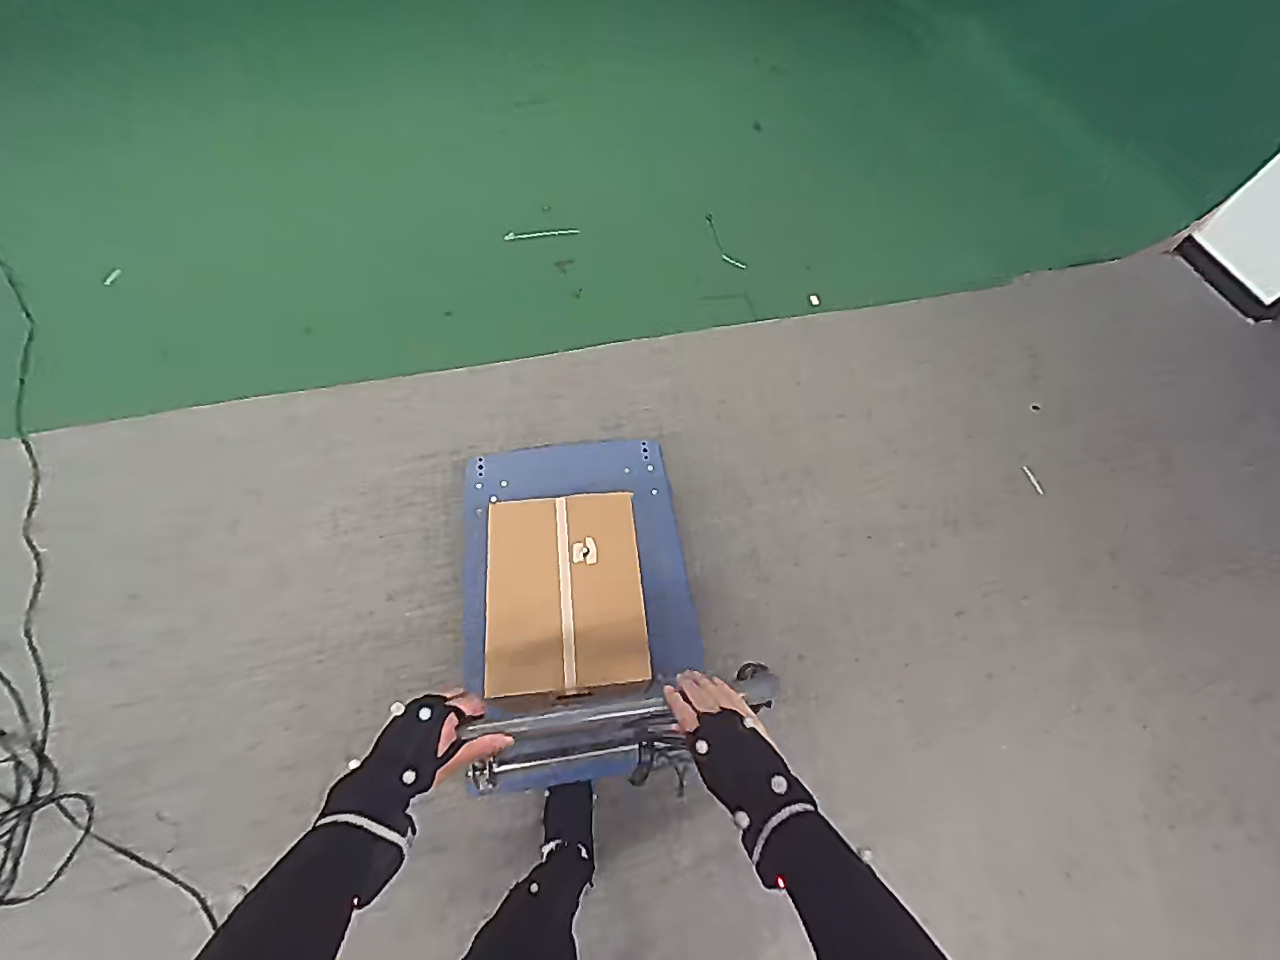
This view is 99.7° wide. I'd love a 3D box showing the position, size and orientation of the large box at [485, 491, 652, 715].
[{"bbox_3d":[-0.160,0.281,1.219,0.320,0.320,0.408,-4,61,-7],"label":"large box"}]
